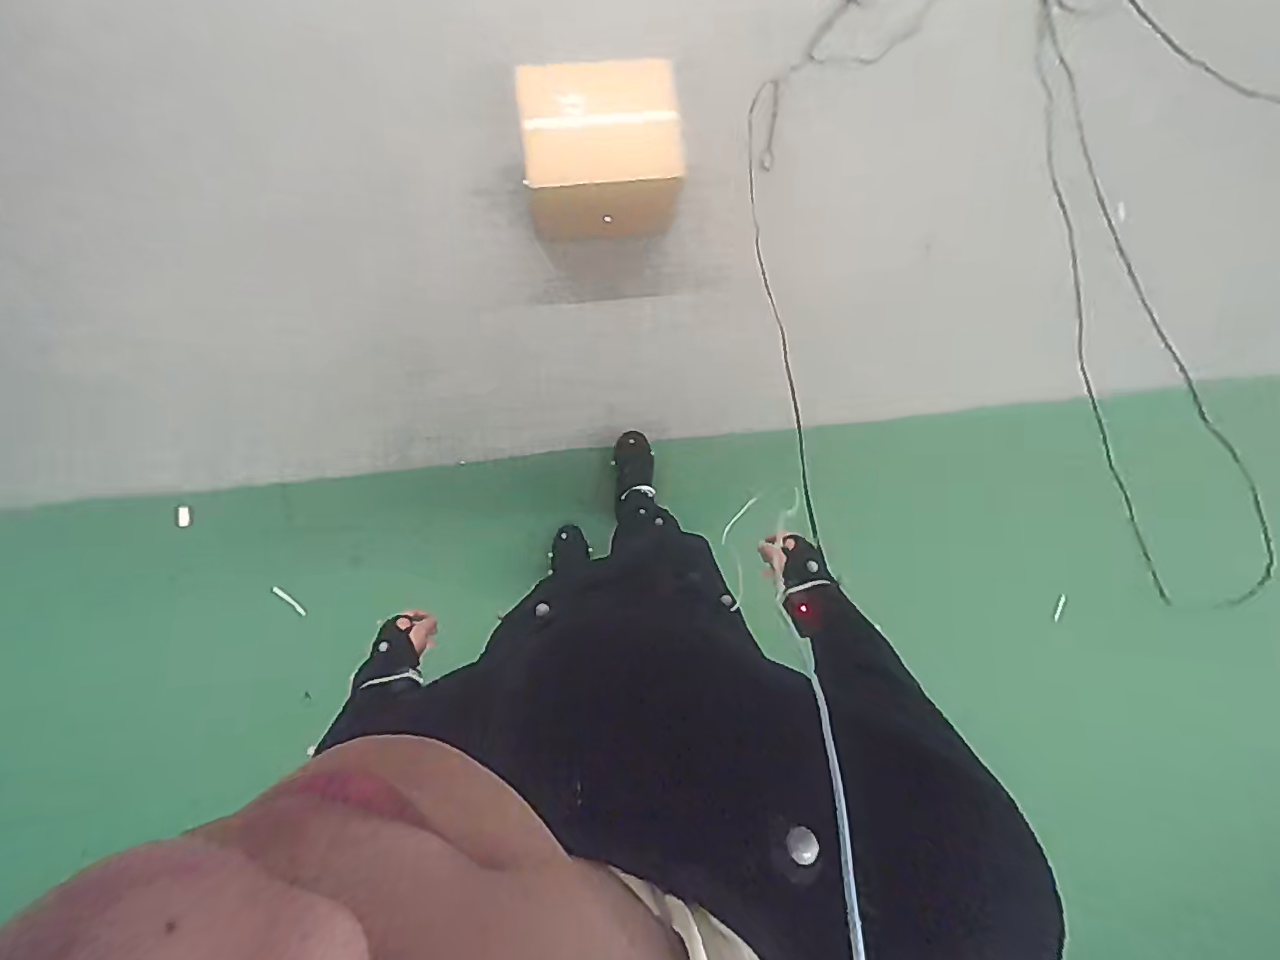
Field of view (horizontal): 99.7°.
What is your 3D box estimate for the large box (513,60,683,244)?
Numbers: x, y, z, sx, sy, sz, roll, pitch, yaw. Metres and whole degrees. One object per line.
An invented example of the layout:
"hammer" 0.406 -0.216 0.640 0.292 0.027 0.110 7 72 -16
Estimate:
"large box" -0.115 -0.902 1.529 0.408 0.320 0.320 -8 89 -4
